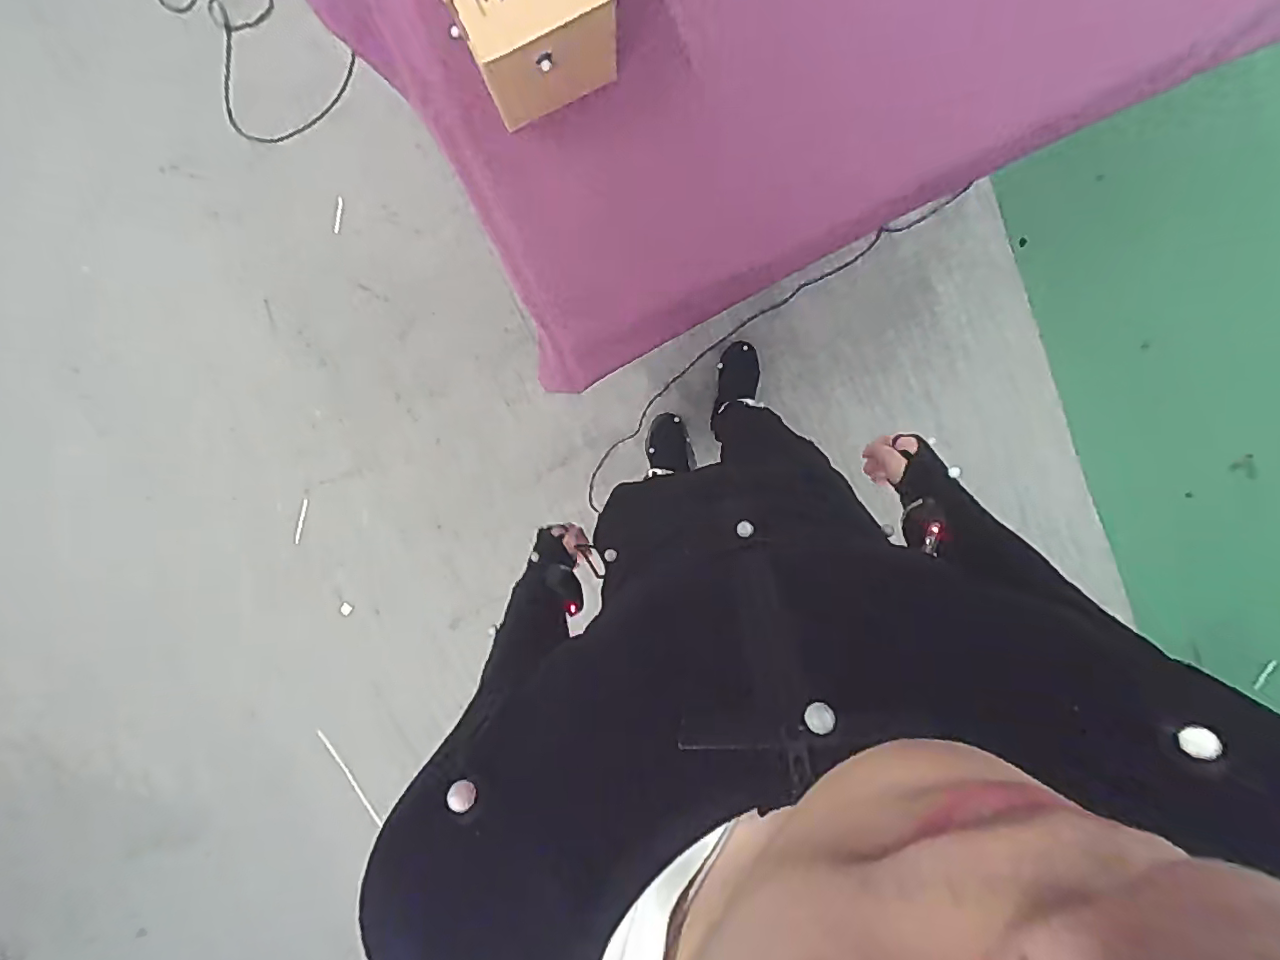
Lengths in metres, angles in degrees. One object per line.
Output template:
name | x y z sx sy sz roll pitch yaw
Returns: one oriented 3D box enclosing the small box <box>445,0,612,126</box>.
small box | -0.146 -0.597 0.687 0.179 0.176 0.168 -26 100 2
